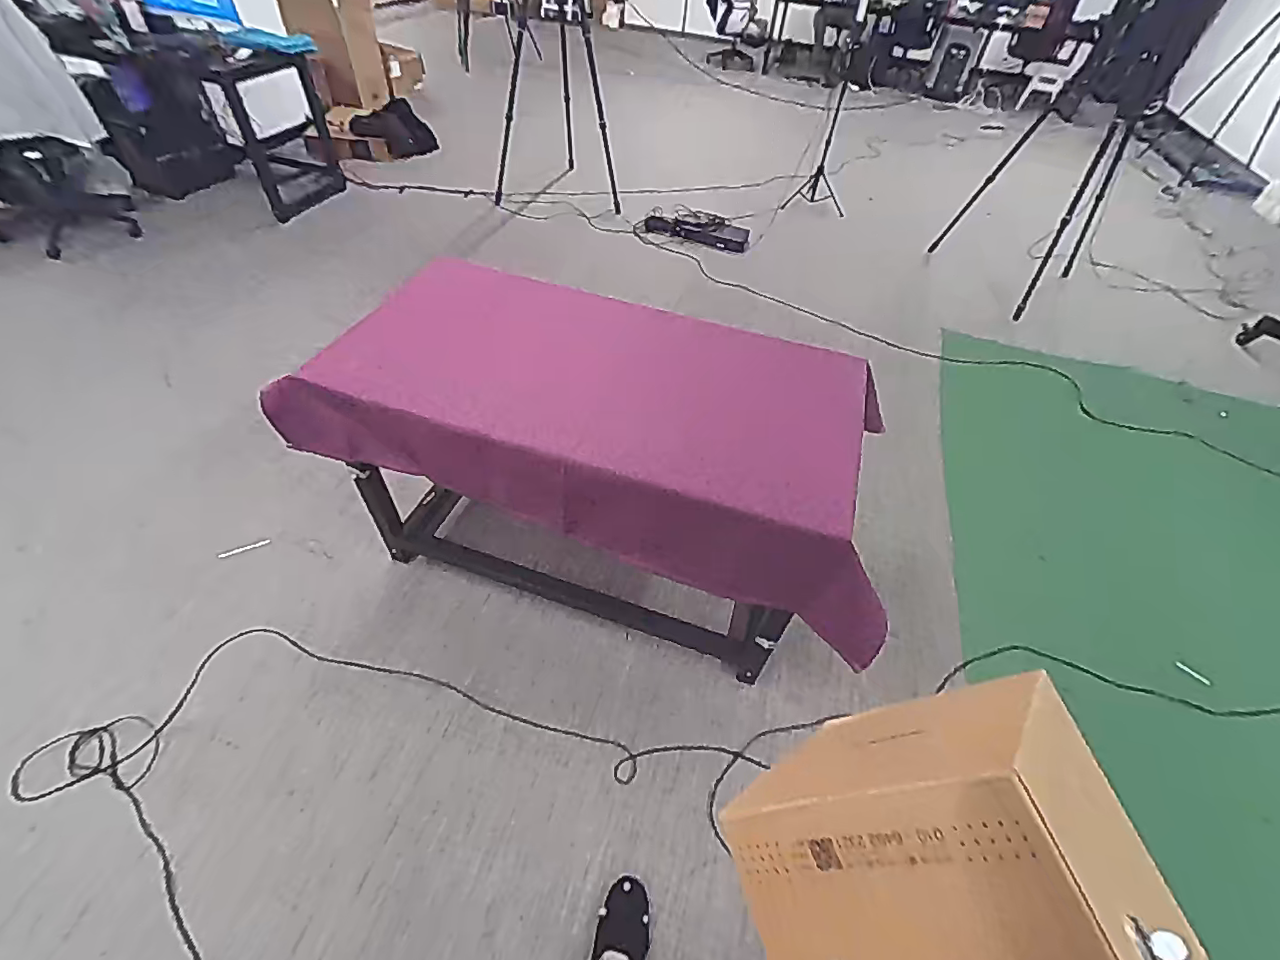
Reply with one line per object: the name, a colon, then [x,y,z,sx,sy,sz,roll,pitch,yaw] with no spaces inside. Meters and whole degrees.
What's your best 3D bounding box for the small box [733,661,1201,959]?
small box: [0.184,0.227,0.319,0.179,0.168,0.176,1,62,-50]
